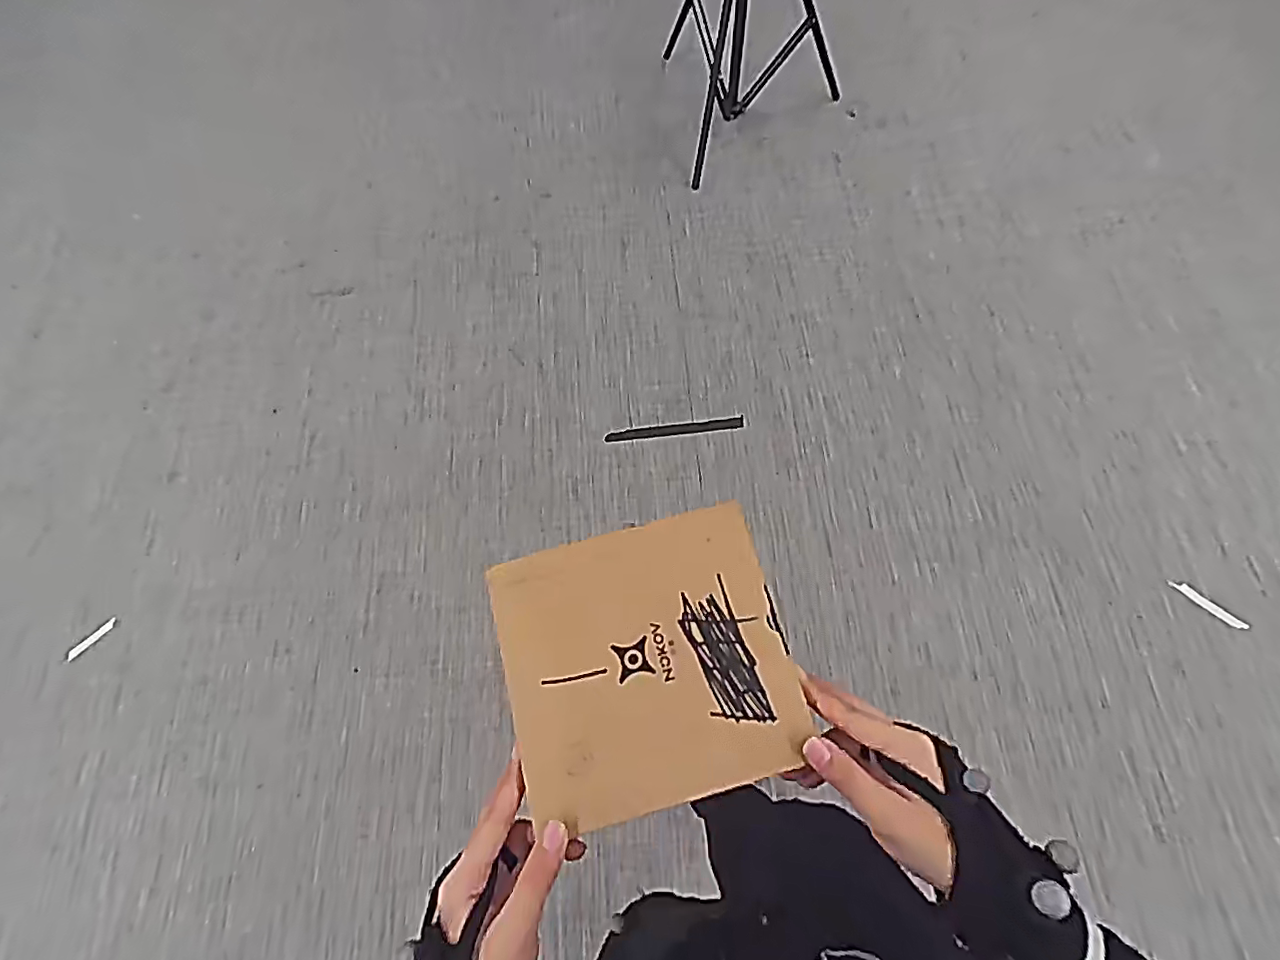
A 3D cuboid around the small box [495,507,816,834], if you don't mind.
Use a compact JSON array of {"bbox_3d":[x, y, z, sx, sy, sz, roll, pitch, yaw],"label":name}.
[{"bbox_3d":[0.005,0.136,0.421,0.179,0.176,0.168,-15,72,-5],"label":"small box"}]
